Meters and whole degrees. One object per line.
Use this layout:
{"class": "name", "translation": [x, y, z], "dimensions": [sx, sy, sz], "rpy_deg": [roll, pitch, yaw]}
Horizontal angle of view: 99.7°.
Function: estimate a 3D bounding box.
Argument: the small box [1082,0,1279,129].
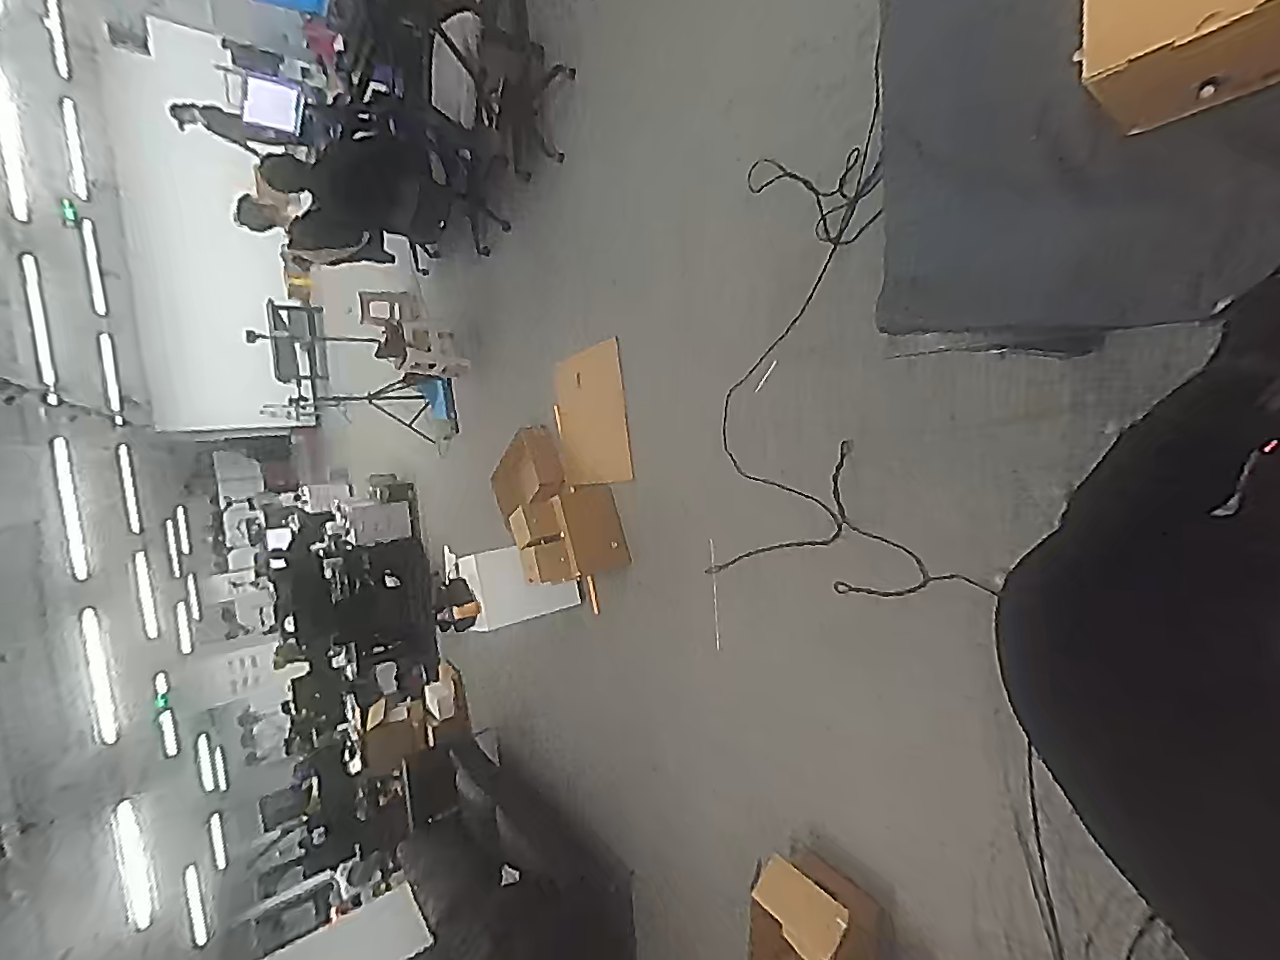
{"class": "small box", "translation": [0.512, -0.452, 0.471], "dimensions": [0.168, 0.176, 0.179], "rpy_deg": [3, 99, 52]}
